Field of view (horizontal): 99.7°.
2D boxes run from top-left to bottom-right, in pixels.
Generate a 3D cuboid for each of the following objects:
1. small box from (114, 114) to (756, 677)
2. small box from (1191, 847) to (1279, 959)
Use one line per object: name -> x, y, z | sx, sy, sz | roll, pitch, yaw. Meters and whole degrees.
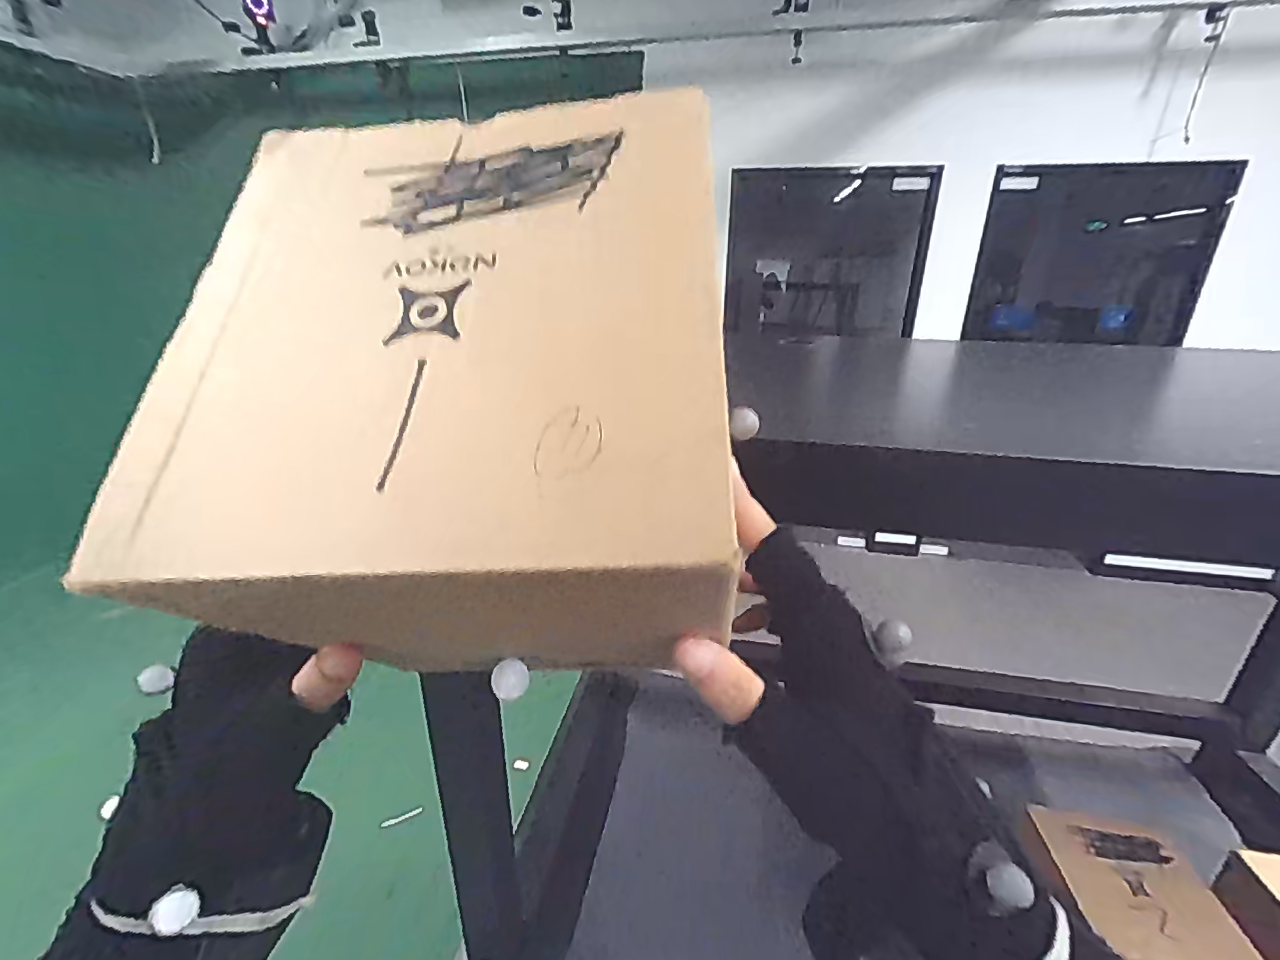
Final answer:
small box -> -0.044, -0.016, 0.237 | 0.168, 0.176, 0.179 | -3, 64, 7
small box -> 0.806, 0.571, 0.615 | 0.168, 0.176, 0.179 | 4, 21, 9
